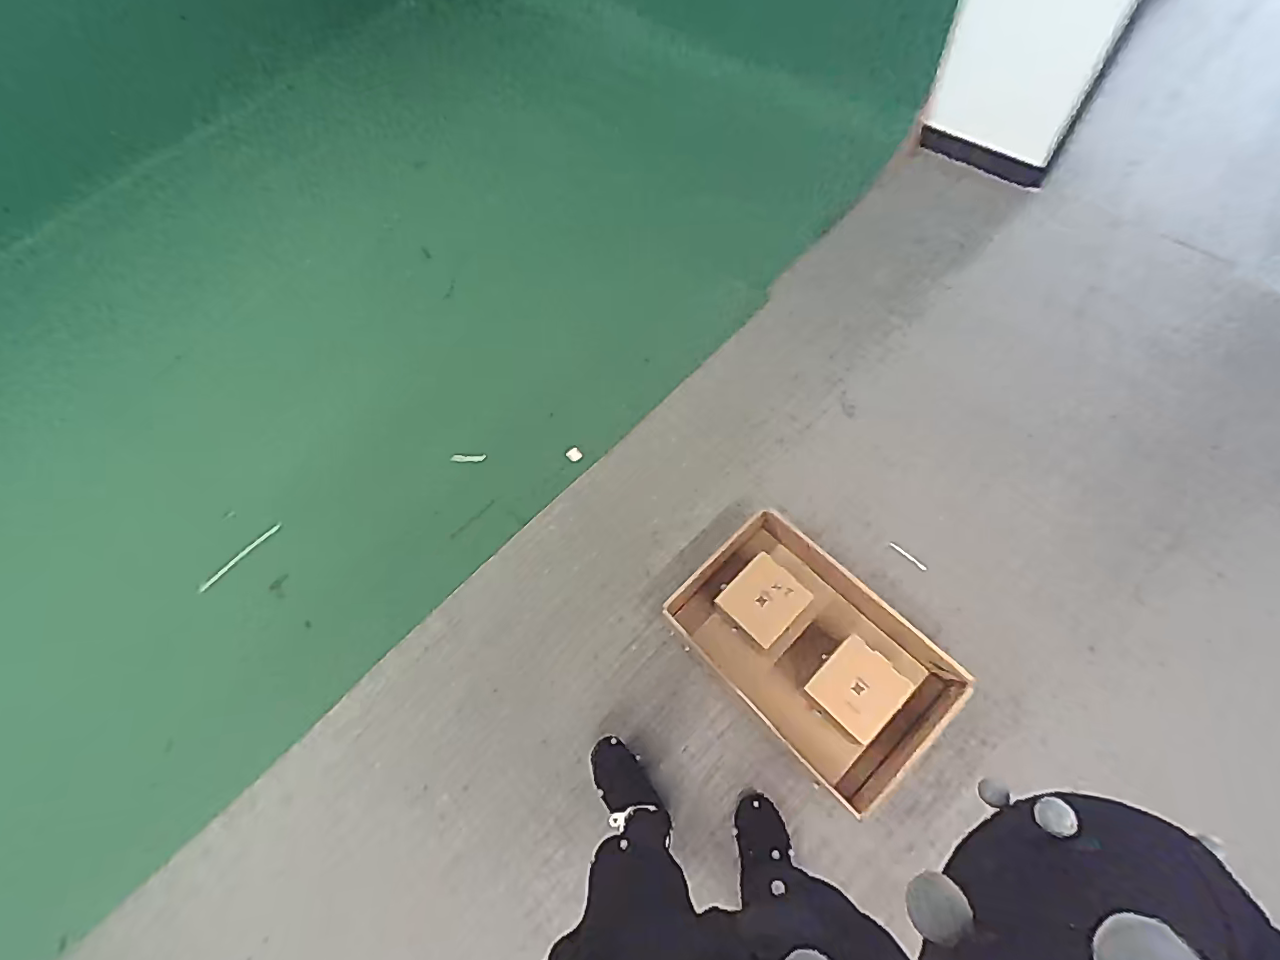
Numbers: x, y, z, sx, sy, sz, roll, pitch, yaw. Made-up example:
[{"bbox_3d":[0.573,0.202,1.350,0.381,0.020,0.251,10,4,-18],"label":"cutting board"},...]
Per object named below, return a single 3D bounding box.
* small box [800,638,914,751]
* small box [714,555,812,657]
[{"bbox_3d":[0.490,0.497,1.256,0.179,0.176,0.168,-43,65,-10],"label":"small box"},{"bbox_3d":[0.305,0.324,1.364,0.179,0.176,0.168,-42,67,-11],"label":"small box"}]
